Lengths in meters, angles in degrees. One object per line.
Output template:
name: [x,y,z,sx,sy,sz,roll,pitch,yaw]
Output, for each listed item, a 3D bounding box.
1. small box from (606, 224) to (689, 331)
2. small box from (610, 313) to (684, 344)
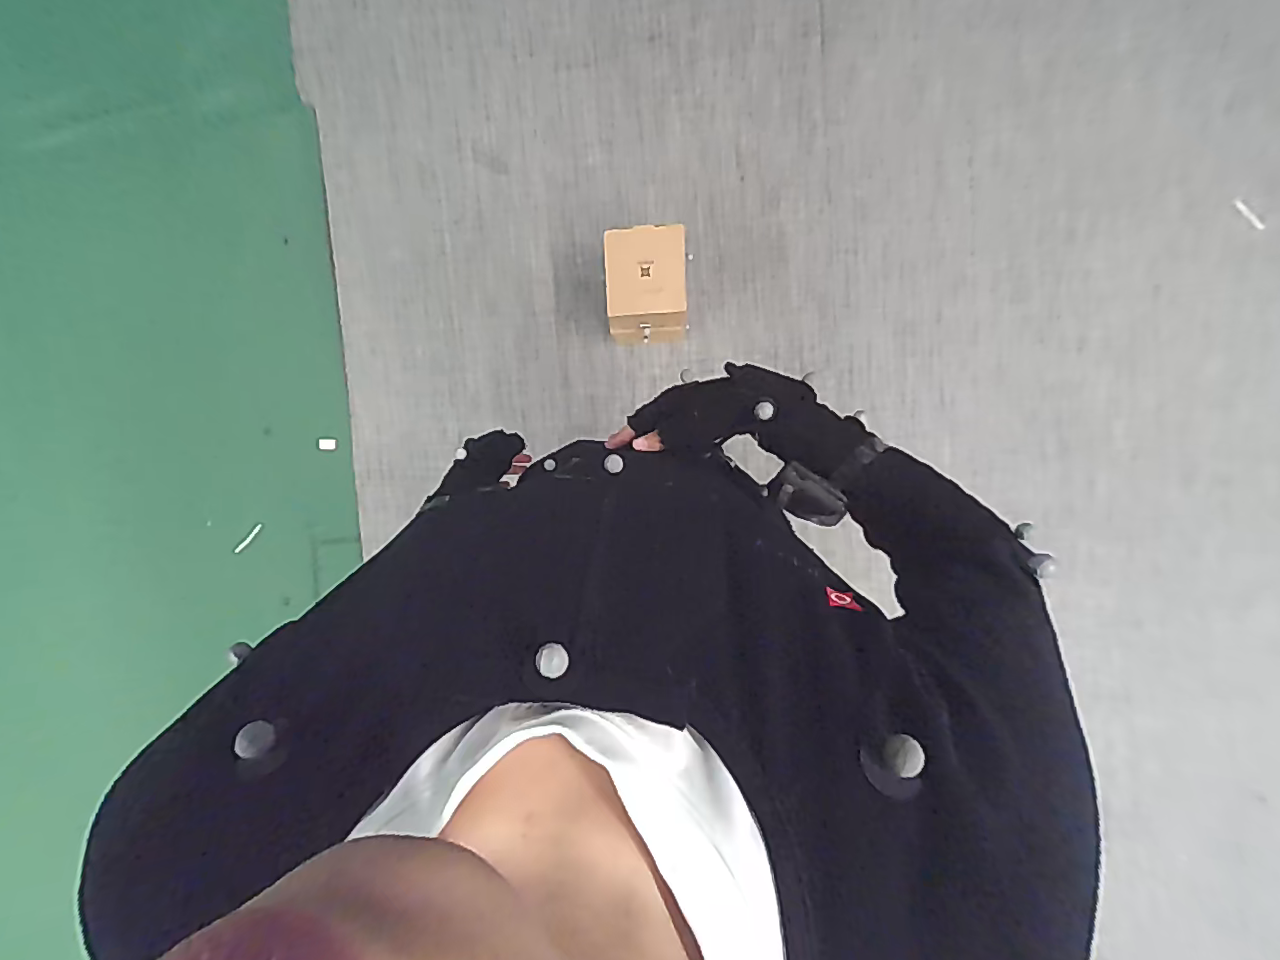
small box: [0.021,-0.436,1.187,0.168,0.176,0.179,-3,95,7]
small box: [0.021,-0.439,1.348,0.179,0.176,0.168,-2,94,6]
